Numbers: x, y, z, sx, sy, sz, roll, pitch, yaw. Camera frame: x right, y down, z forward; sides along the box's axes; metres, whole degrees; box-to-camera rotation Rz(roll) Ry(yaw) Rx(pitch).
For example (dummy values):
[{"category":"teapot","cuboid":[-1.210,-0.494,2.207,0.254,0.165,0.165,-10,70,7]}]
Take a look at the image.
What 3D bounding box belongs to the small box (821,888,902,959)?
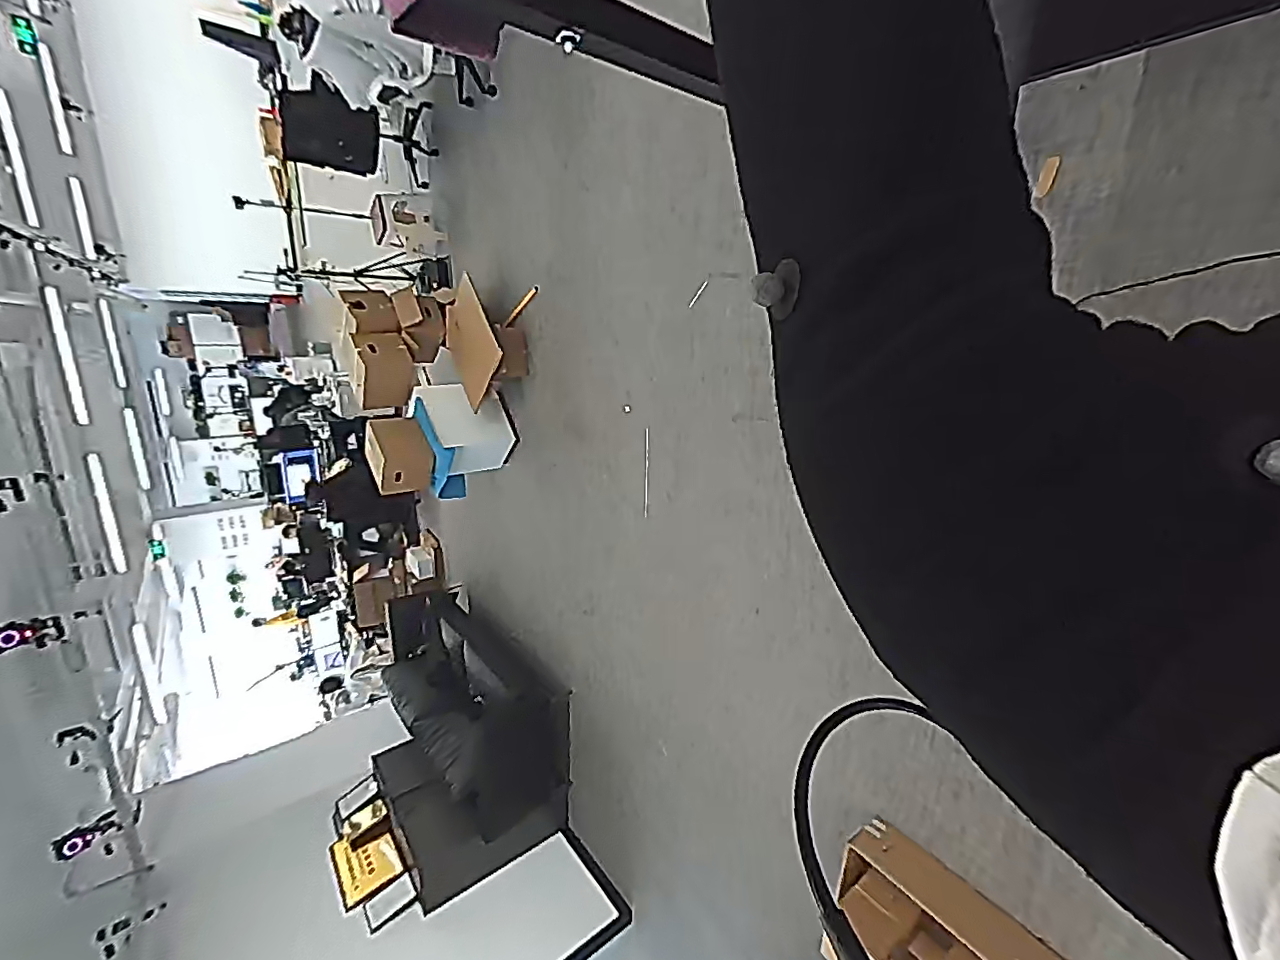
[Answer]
[{"category":"small box","cuboid":[0.718,1.485,1.746,0.179,0.176,0.168,21,114,49]}]
